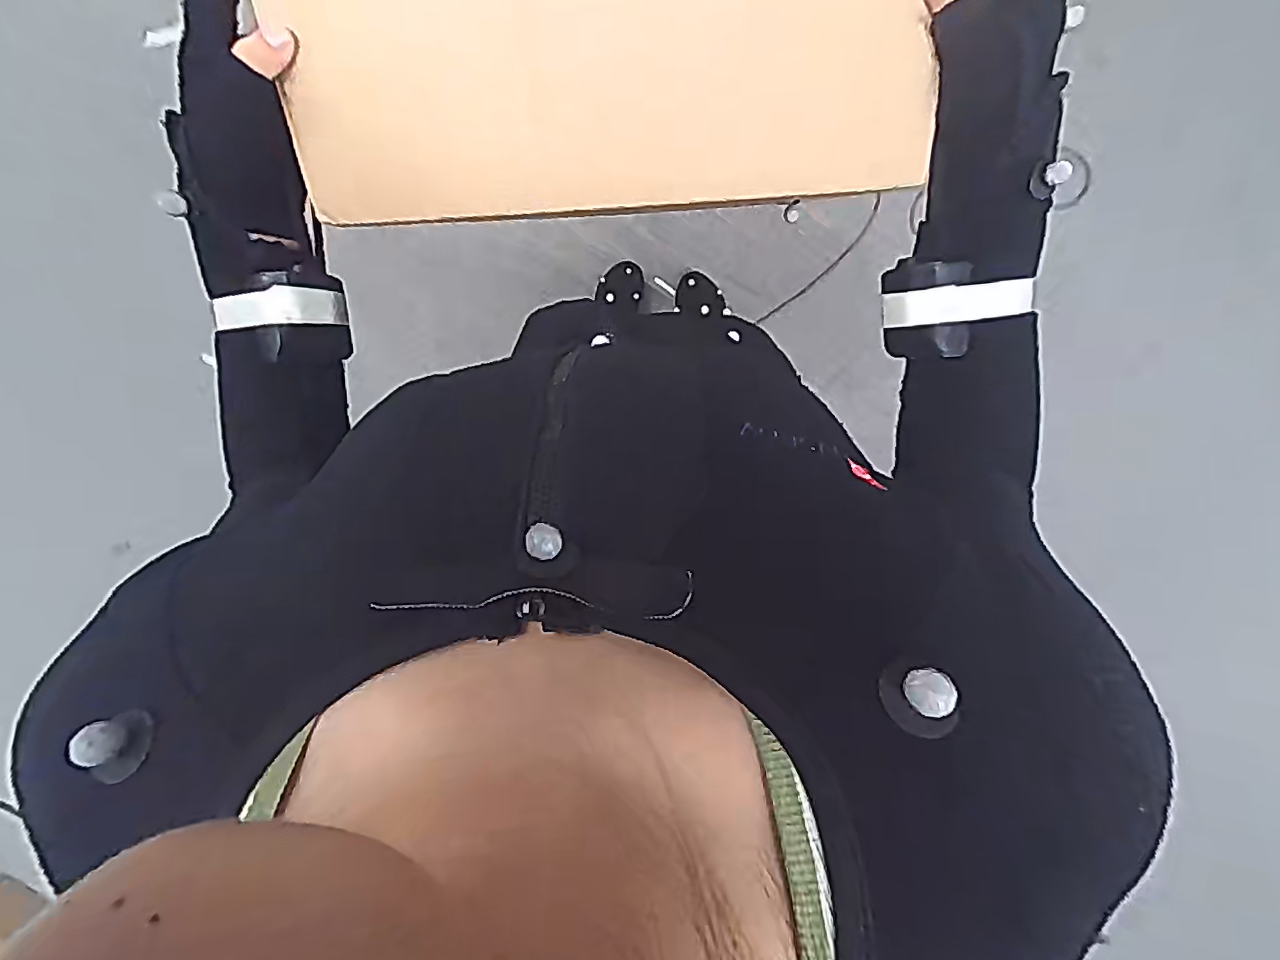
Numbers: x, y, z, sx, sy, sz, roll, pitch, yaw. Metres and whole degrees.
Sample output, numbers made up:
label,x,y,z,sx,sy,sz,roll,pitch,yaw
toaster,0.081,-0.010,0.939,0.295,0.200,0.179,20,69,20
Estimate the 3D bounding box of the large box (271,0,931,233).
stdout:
label,x,y,z,sx,sy,sz,roll,pitch,yaw
large box,-0.021,-0.393,0.438,0.408,0.320,0.320,-2,116,6
